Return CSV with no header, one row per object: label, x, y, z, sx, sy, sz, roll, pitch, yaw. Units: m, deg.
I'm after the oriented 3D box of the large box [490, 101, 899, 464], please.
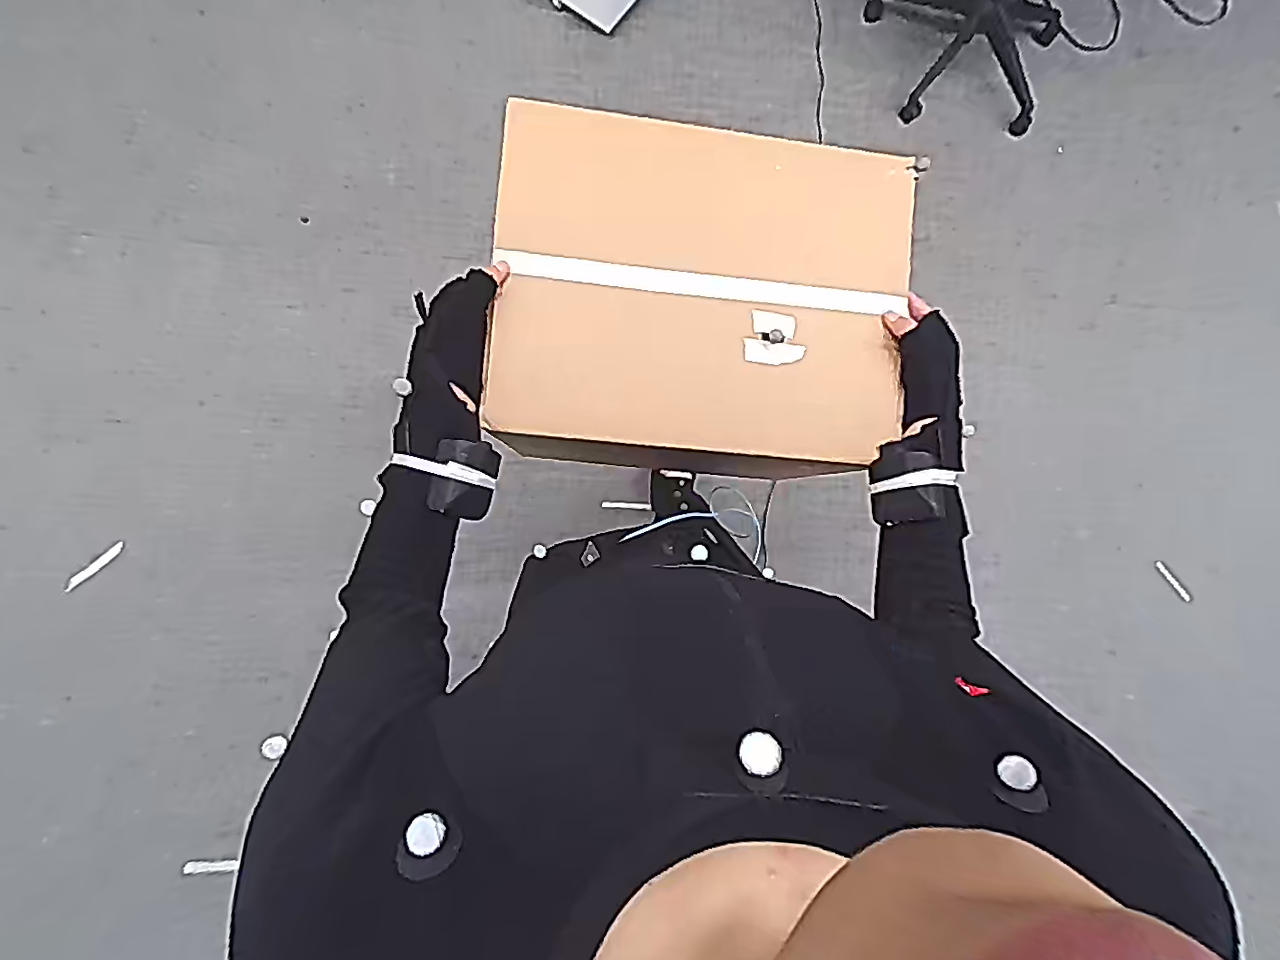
large box,0.045,-0.195,0.682,0.408,0.320,0.320,5,89,-7
